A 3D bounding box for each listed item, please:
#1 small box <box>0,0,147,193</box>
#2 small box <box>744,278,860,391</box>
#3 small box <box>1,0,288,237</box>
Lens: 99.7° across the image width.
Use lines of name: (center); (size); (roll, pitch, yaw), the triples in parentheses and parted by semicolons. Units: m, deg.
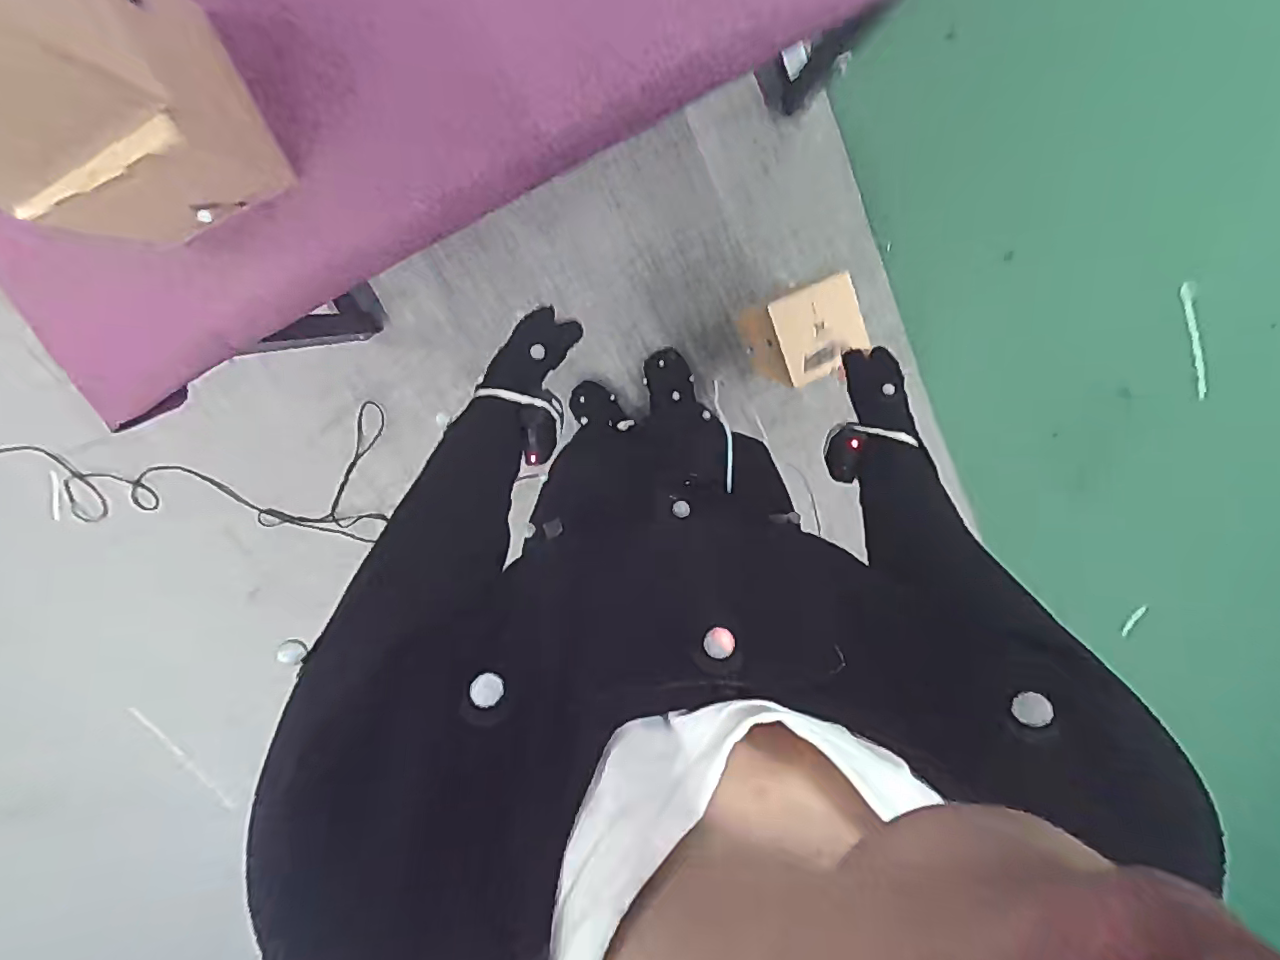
small box: (-0.483, -0.317, 0.346); (0.179, 0.176, 0.168); (-26, 106, 6)
small box: (0.333, -0.307, 1.138); (0.168, 0.176, 0.179); (-22, 106, 5)
small box: (-0.487, -0.353, 0.505); (0.168, 0.176, 0.179); (-22, 107, 5)
